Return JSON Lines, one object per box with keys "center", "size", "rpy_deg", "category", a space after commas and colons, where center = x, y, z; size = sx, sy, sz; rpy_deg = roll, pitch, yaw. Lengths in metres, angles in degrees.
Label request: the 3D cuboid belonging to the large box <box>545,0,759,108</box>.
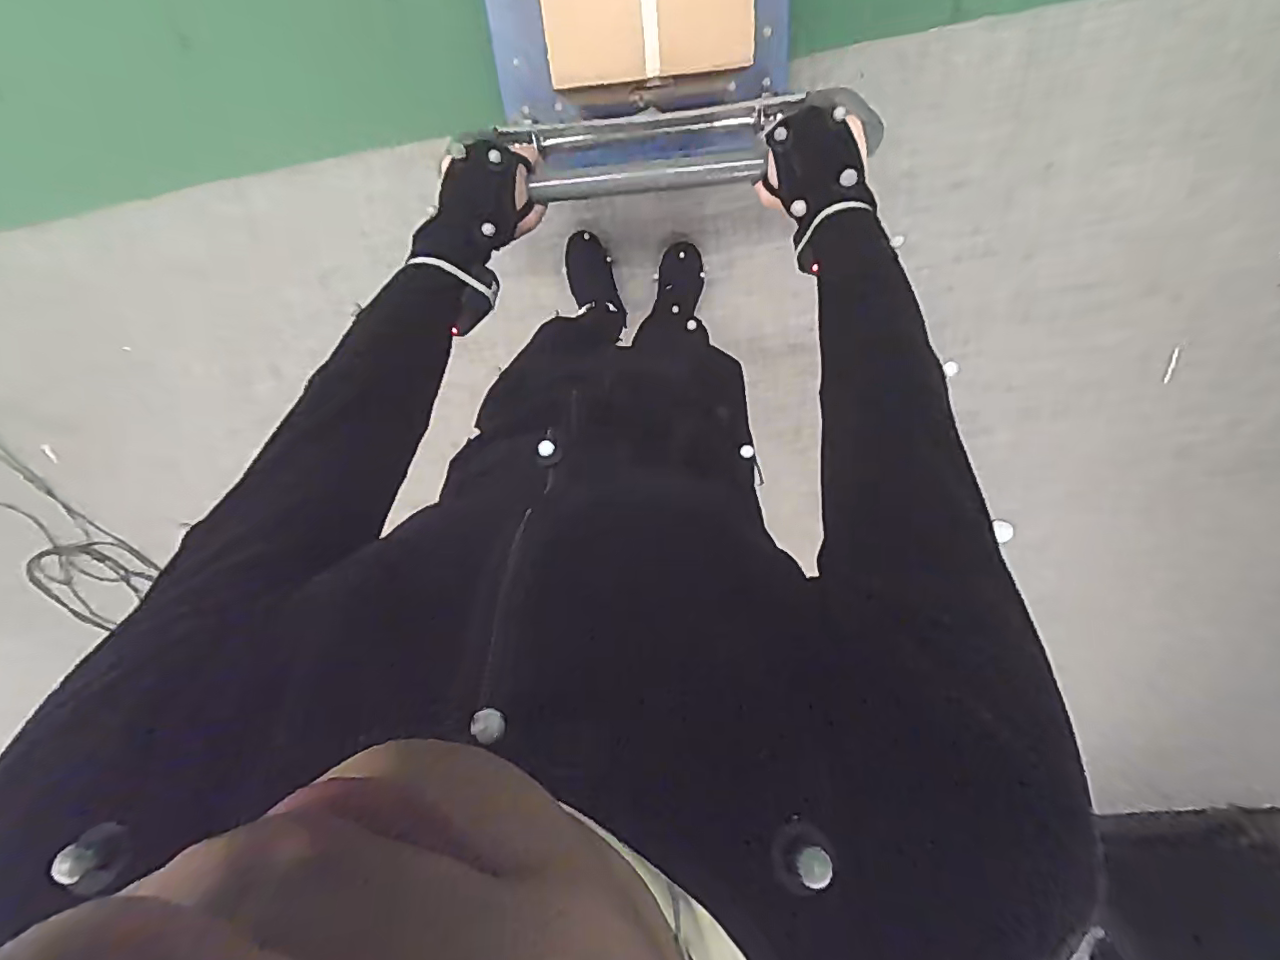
{"center": [0.011, -0.866, 0.865], "size": [0.320, 0.320, 0.408], "rpy_deg": [-4, 120, 3], "category": "large box"}
